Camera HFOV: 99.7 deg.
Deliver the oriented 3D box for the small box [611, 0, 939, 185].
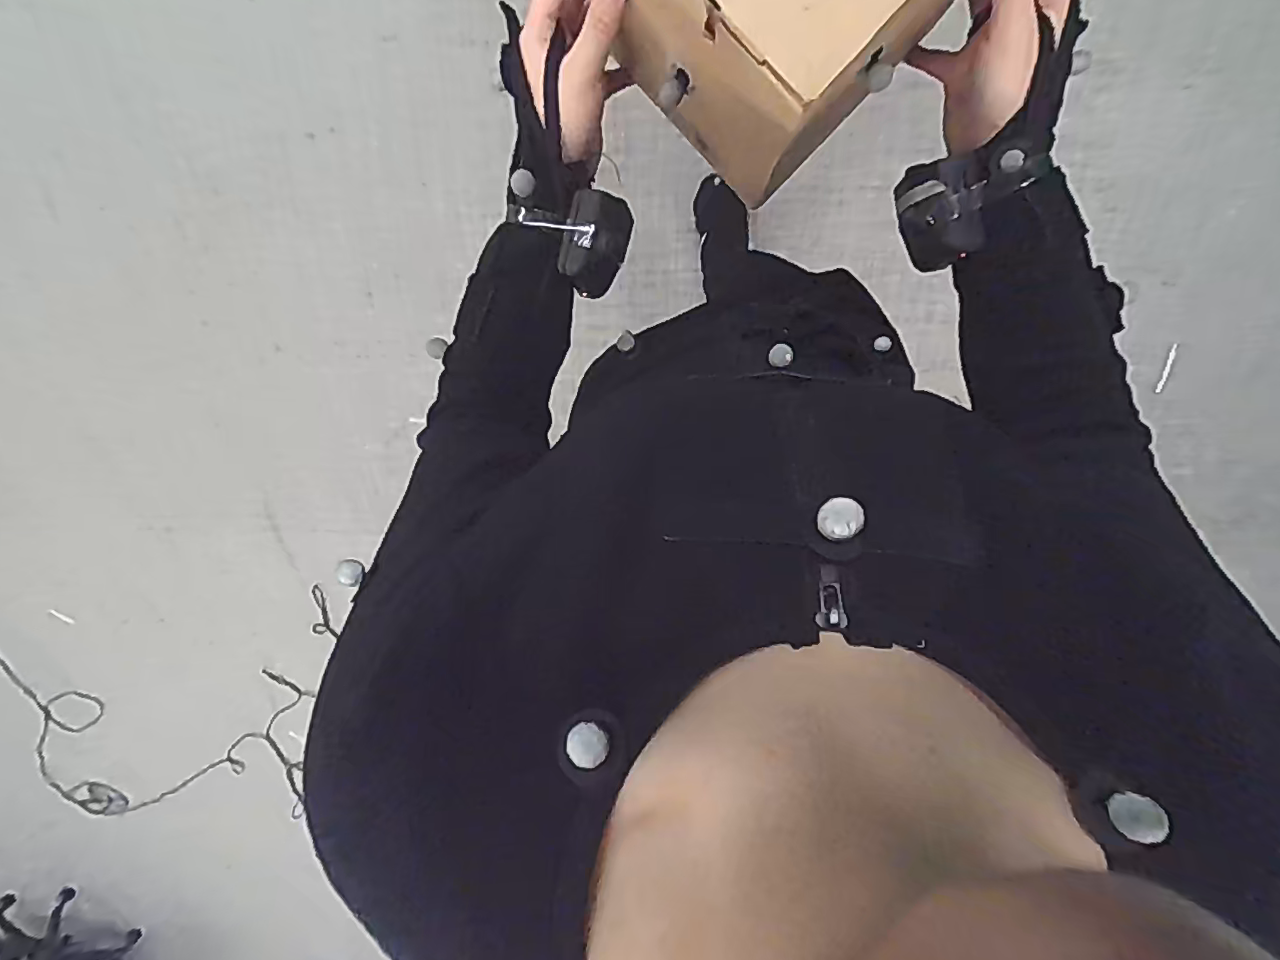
[{"bbox_3d":[0.087,-0.317,0.318,0.168,0.176,0.179,45,102,-6],"label":"small box"}]
